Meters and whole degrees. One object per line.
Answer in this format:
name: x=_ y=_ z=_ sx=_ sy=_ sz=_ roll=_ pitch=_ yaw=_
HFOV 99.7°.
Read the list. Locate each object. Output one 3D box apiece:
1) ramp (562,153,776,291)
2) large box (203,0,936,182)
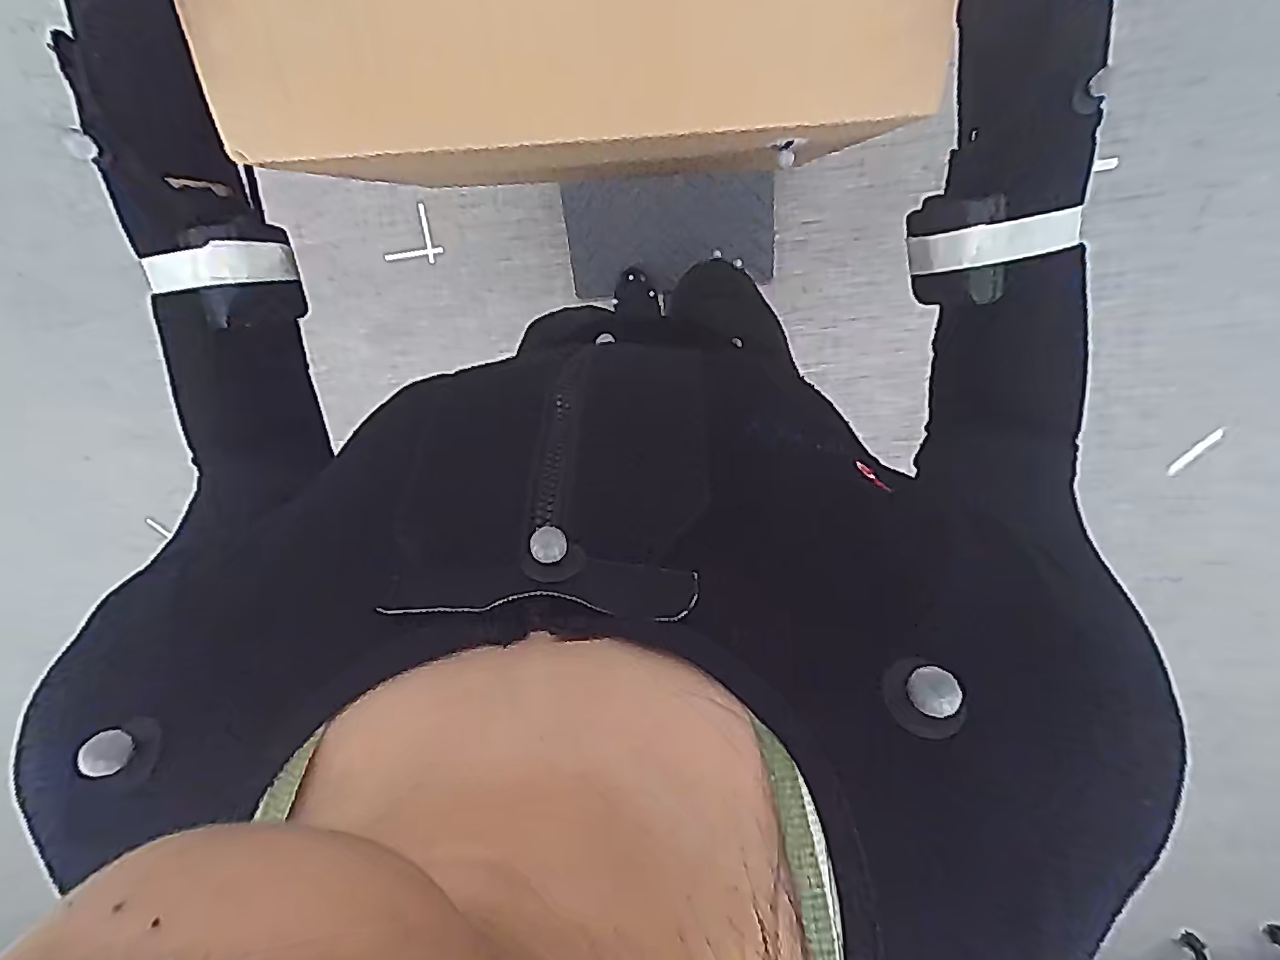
ramp: x=0.038 y=-0.929 z=1.112 sx=0.509 sy=0.206 sz=0.991 roll=-6 pitch=109 yaw=5
large box: x=-0.041 y=-0.406 z=0.385 sx=0.408 sy=0.320 sz=0.320 roll=-2 pitch=115 yaw=3
